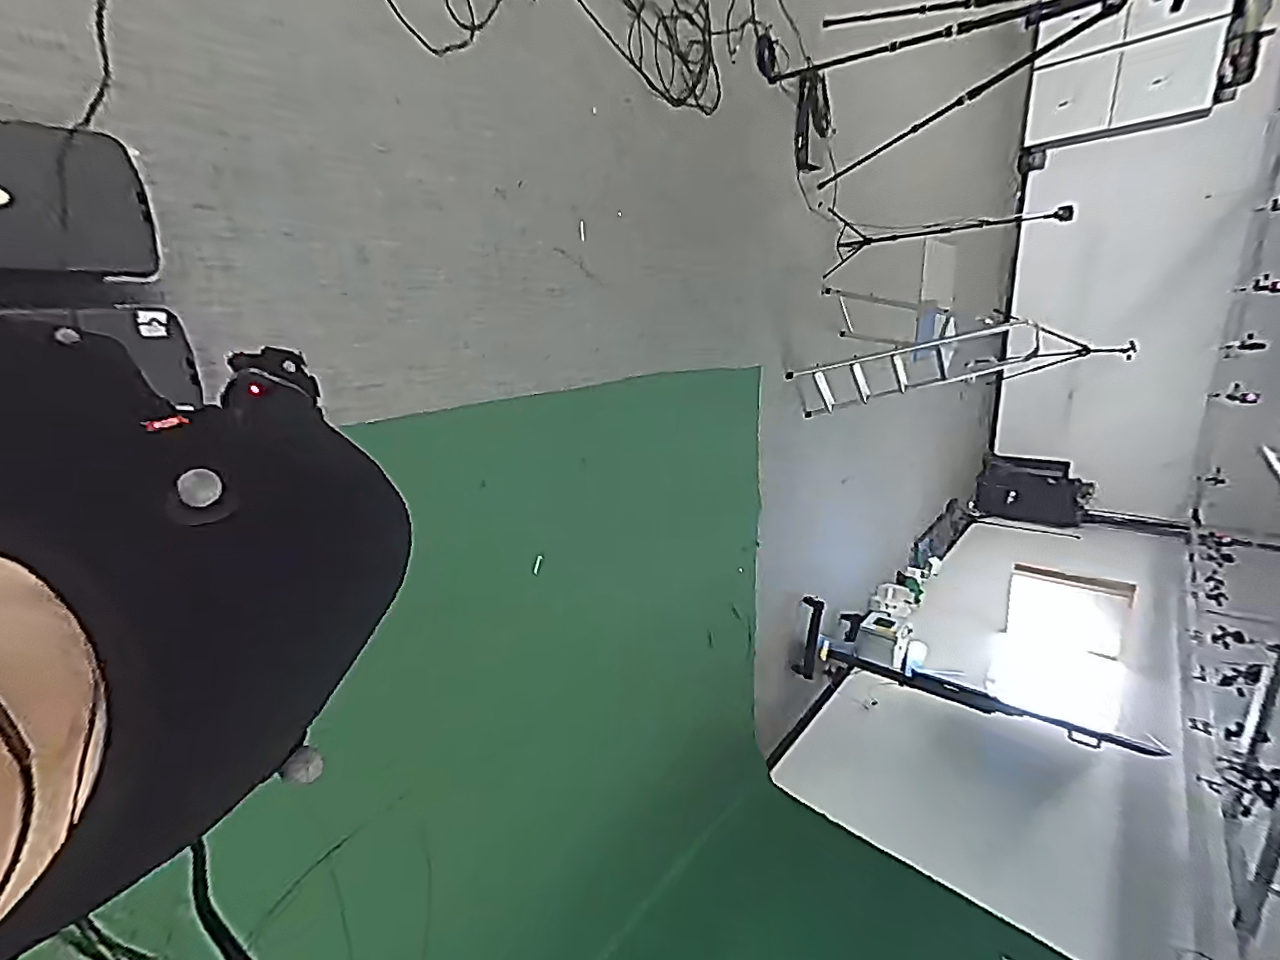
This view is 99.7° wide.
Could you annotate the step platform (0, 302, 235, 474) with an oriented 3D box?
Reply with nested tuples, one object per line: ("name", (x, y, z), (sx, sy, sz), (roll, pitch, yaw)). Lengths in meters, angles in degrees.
("step platform", (-1.111, -0.136, 0.887), (0.684, 0.204, 0.286), (-20, 113, -46))
